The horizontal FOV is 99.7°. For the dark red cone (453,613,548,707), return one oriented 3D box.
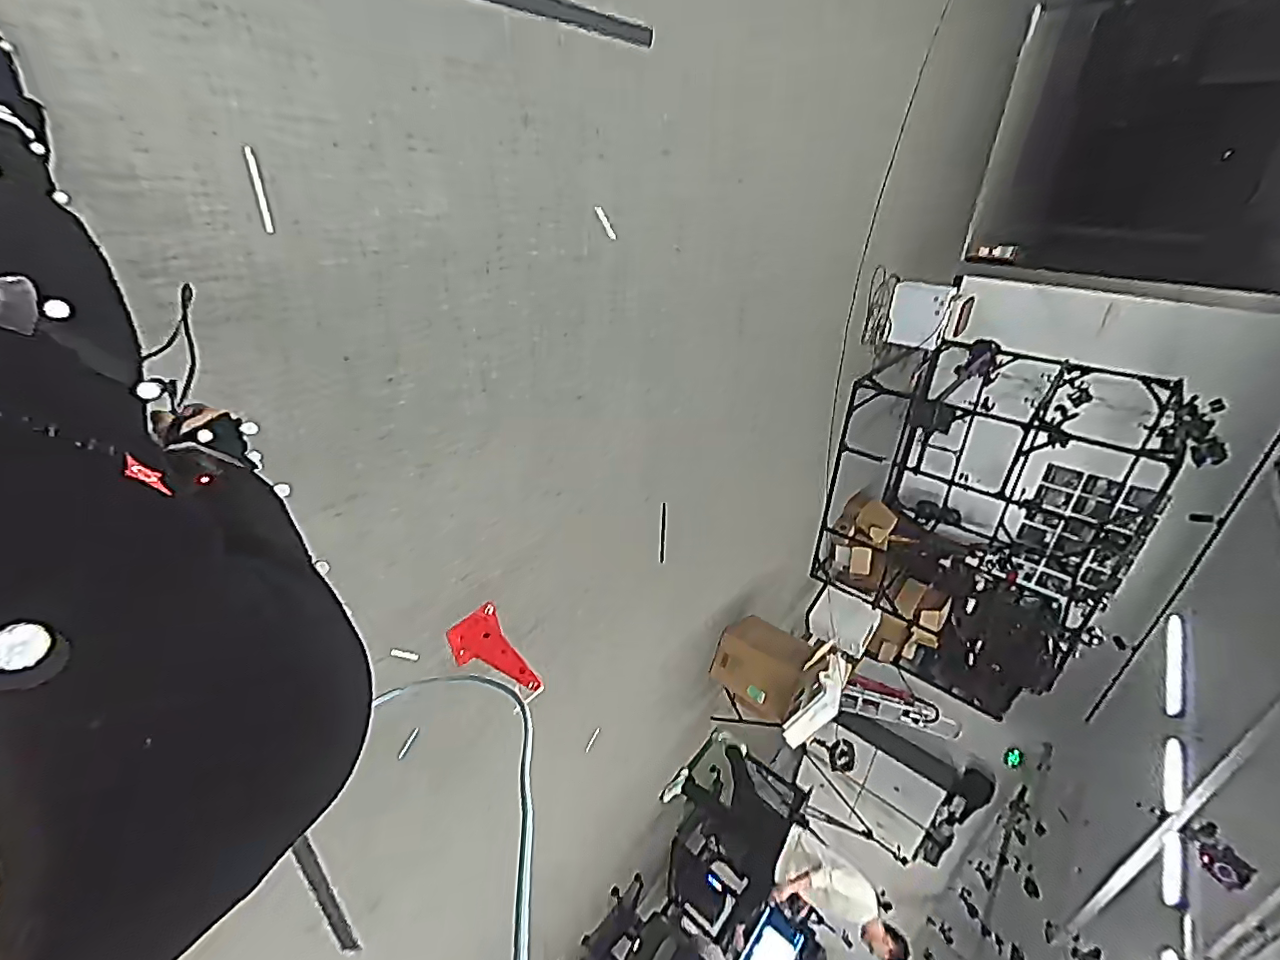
[{"bbox_3d":[-0.458,0.655,1.874,0.201,0.394,0.202,-35,135,-36],"label":"dark red cone"}]
